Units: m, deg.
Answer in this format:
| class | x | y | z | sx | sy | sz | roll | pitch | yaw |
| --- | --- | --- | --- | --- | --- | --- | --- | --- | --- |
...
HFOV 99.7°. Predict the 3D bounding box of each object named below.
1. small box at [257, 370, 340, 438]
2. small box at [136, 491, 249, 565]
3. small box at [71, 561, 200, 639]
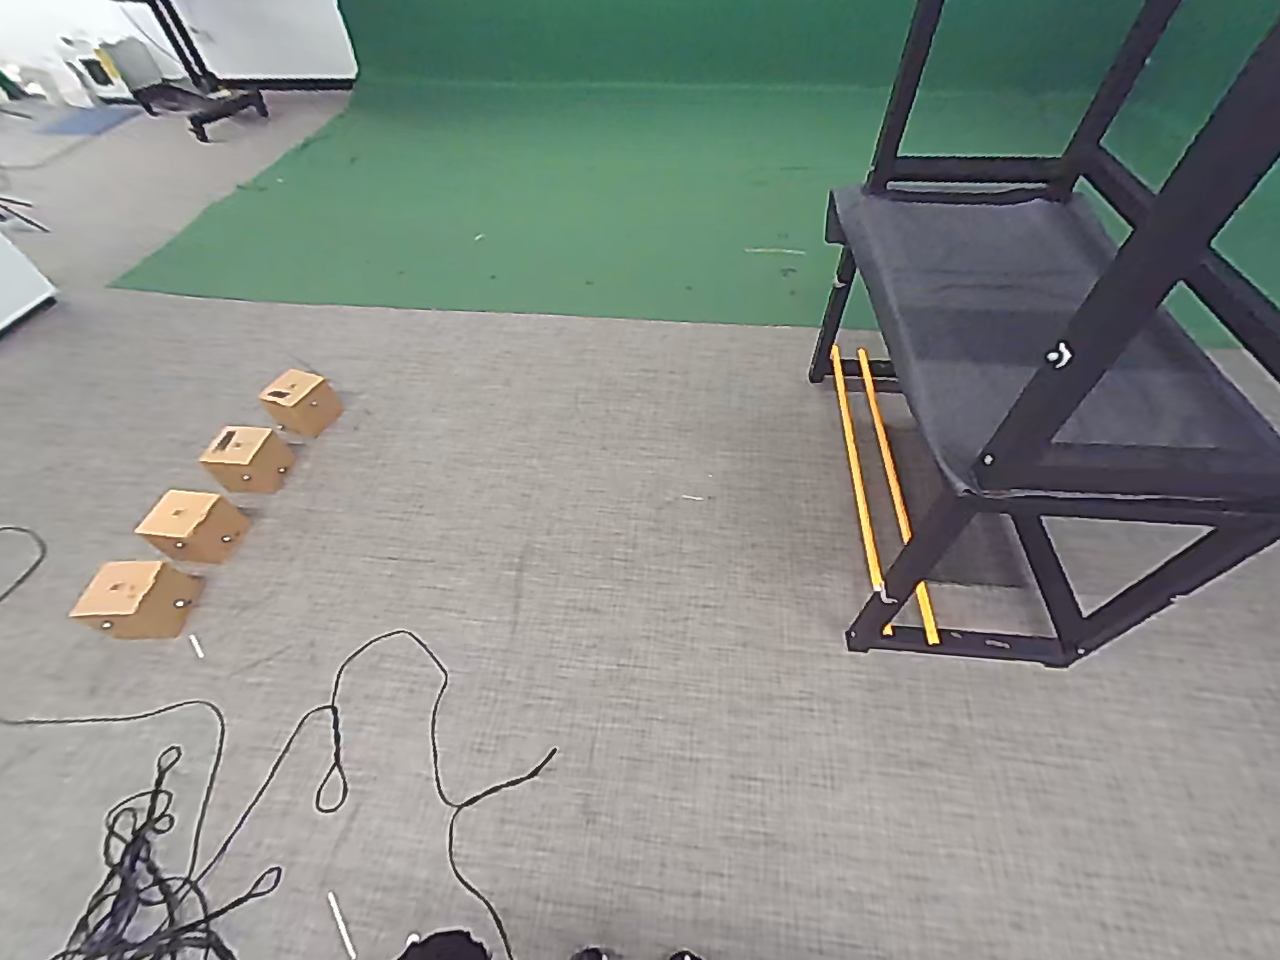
| class | x | y | z | sx | sy | sz | roll | pitch | yaw |
| --- | --- | --- | --- | --- | --- | --- | --- | --- | --- |
| small box | -1.287 | -0.284 | 2.055 | 0.168 | 0.176 | 0.179 | 16 | 52 | 13 |
| small box | -1.403 | 0.154 | 1.708 | 0.179 | 0.176 | 0.168 | 5 | 52 | 5 |
| small box | -1.433 | 0.348 | 1.550 | 0.179 | 0.176 | 0.168 | -2 | 52 | 0 |
